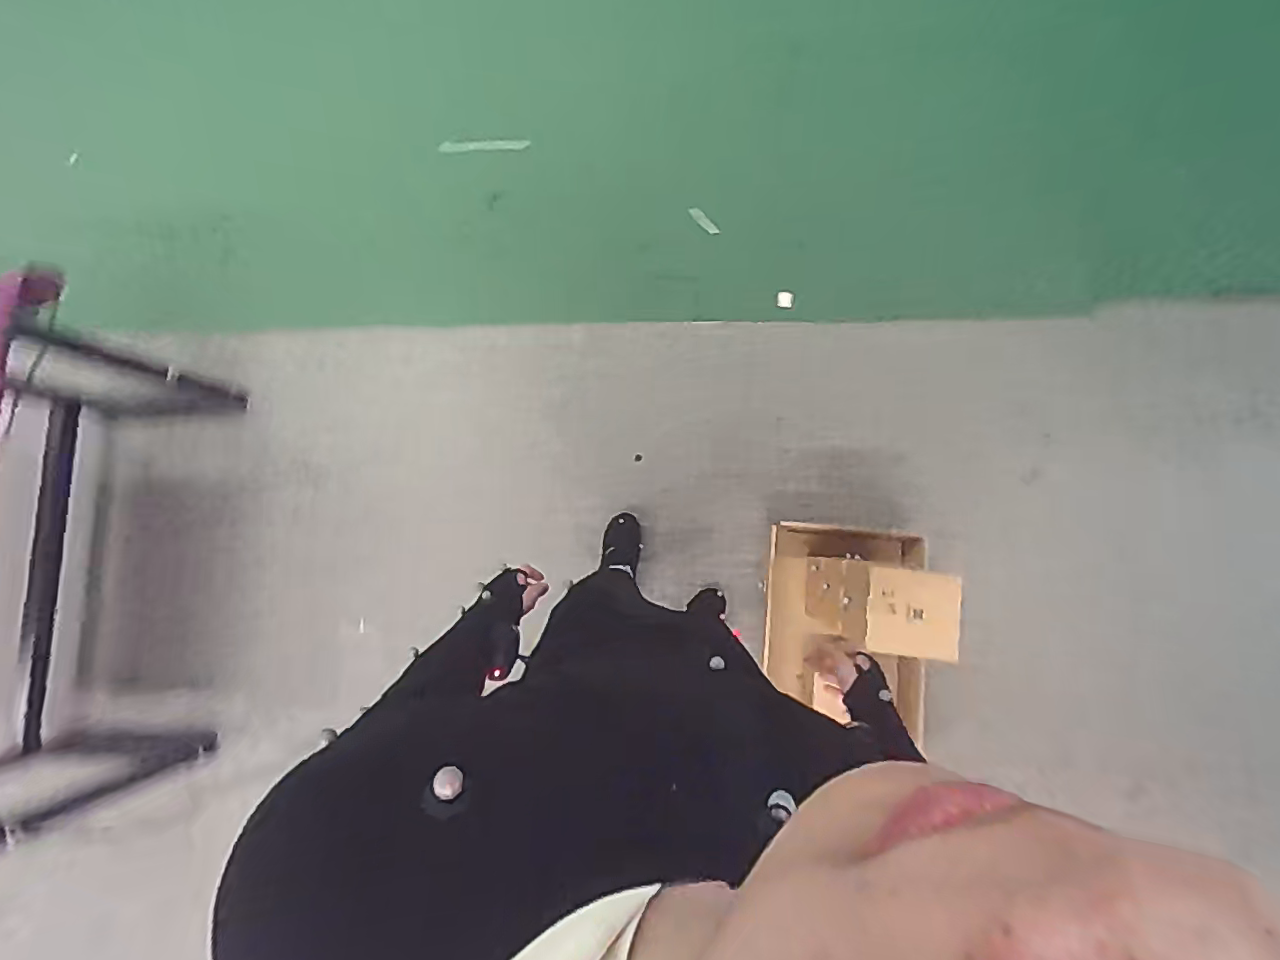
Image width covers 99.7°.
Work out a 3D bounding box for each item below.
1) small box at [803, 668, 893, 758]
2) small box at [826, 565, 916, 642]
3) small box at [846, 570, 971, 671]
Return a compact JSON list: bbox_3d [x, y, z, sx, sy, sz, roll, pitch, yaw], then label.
[{"bbox_3d":[0.533,0.595,1.400,0.179,0.176,0.168,5,82,7],"label":"small box"},{"bbox_3d":[0.553,0.293,1.273,0.179,0.176,0.168,6,84,6],"label":"small box"},{"bbox_3d":[0.543,0.278,1.110,0.179,0.176,0.168,6,84,6],"label":"small box"}]
